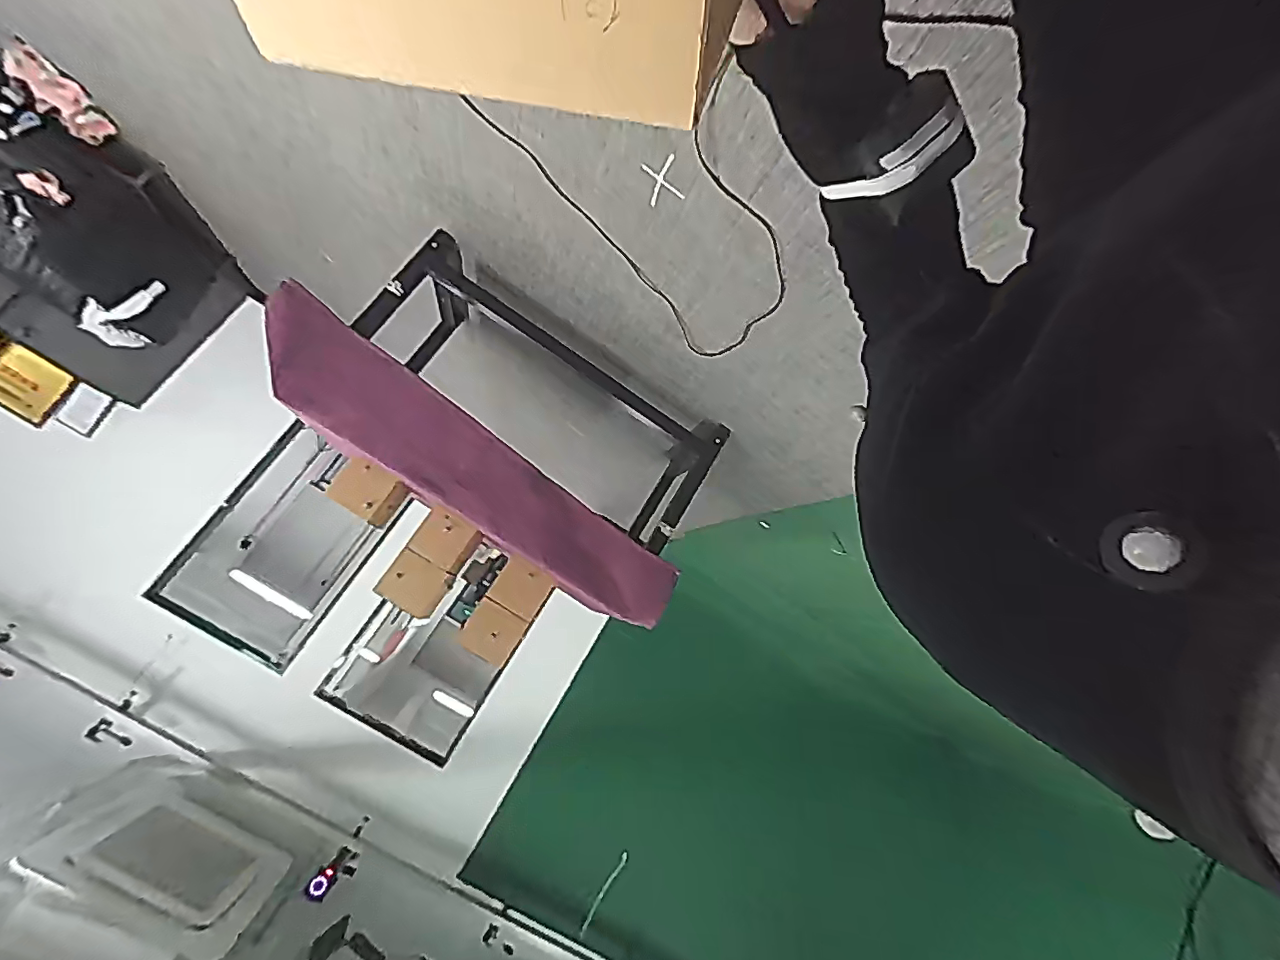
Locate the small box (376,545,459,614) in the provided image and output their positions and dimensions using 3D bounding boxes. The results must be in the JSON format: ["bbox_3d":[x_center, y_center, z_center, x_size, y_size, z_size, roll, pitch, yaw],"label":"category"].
[{"bbox_3d":[-0.732,0.328,1.800,0.179,0.176,0.168,32,164,-1],"label":"small box"}]

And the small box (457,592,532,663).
[{"bbox_3d":[-0.488,0.492,1.826,0.179,0.176,0.168,33,163,-5],"label":"small box"}]

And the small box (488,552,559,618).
[{"bbox_3d":[-0.404,0.359,1.872,0.179,0.176,0.168,34,164,-4],"label":"small box"}]

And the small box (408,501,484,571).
[{"bbox_3d":[-0.652,0.194,1.849,0.168,0.176,0.179,31,163,0],"label":"small box"}]

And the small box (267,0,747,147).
[{"bbox_3d":[-0.032,-0.251,0.170,0.168,0.176,0.179,13,151,5],"label":"small box"}]
